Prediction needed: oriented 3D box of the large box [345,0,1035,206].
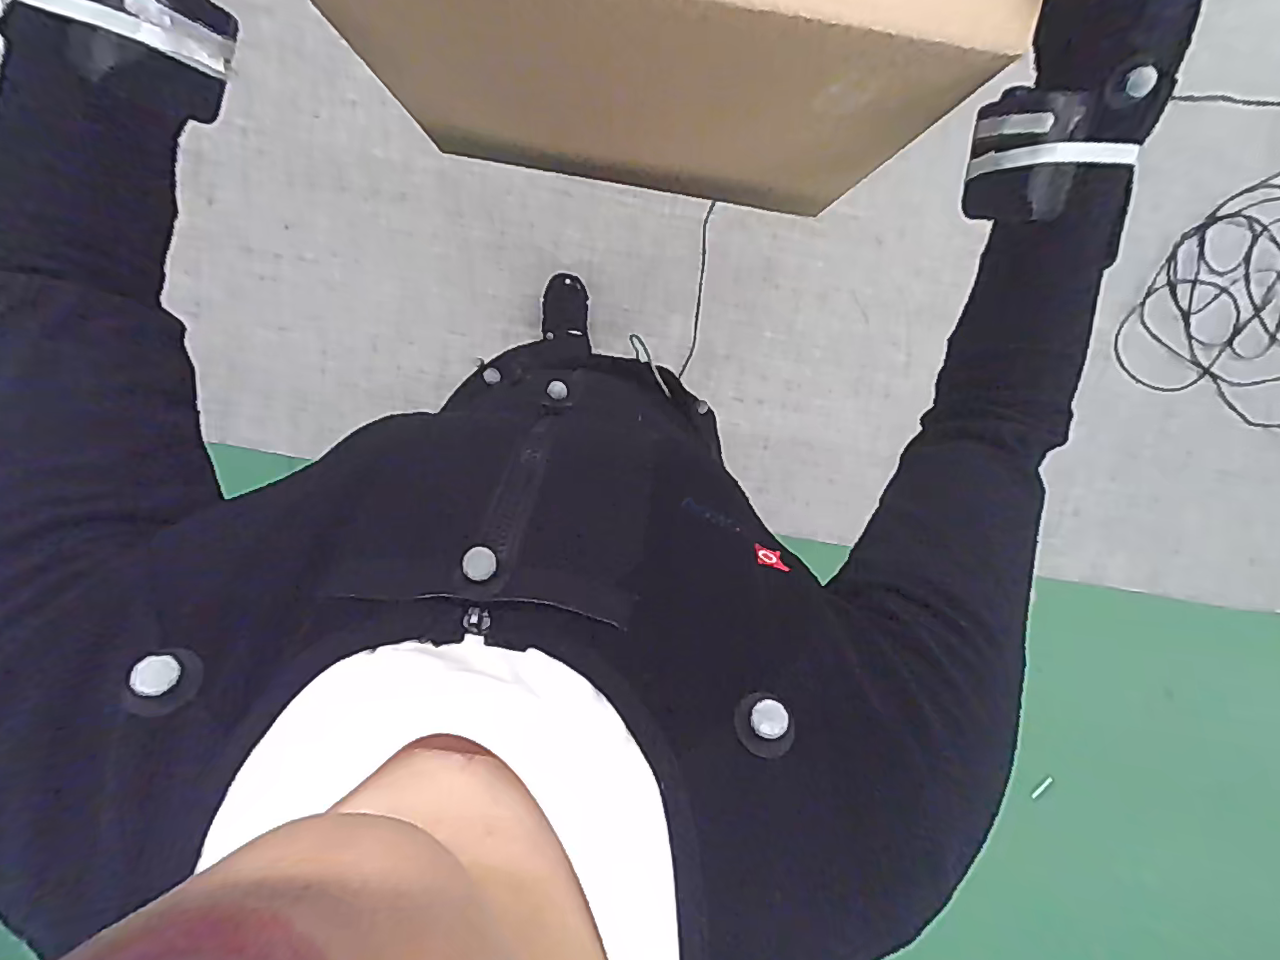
[{"bbox_3d":[0.024,-0.435,0.398,0.408,0.320,0.320,7,102,-4],"label":"large box"}]
